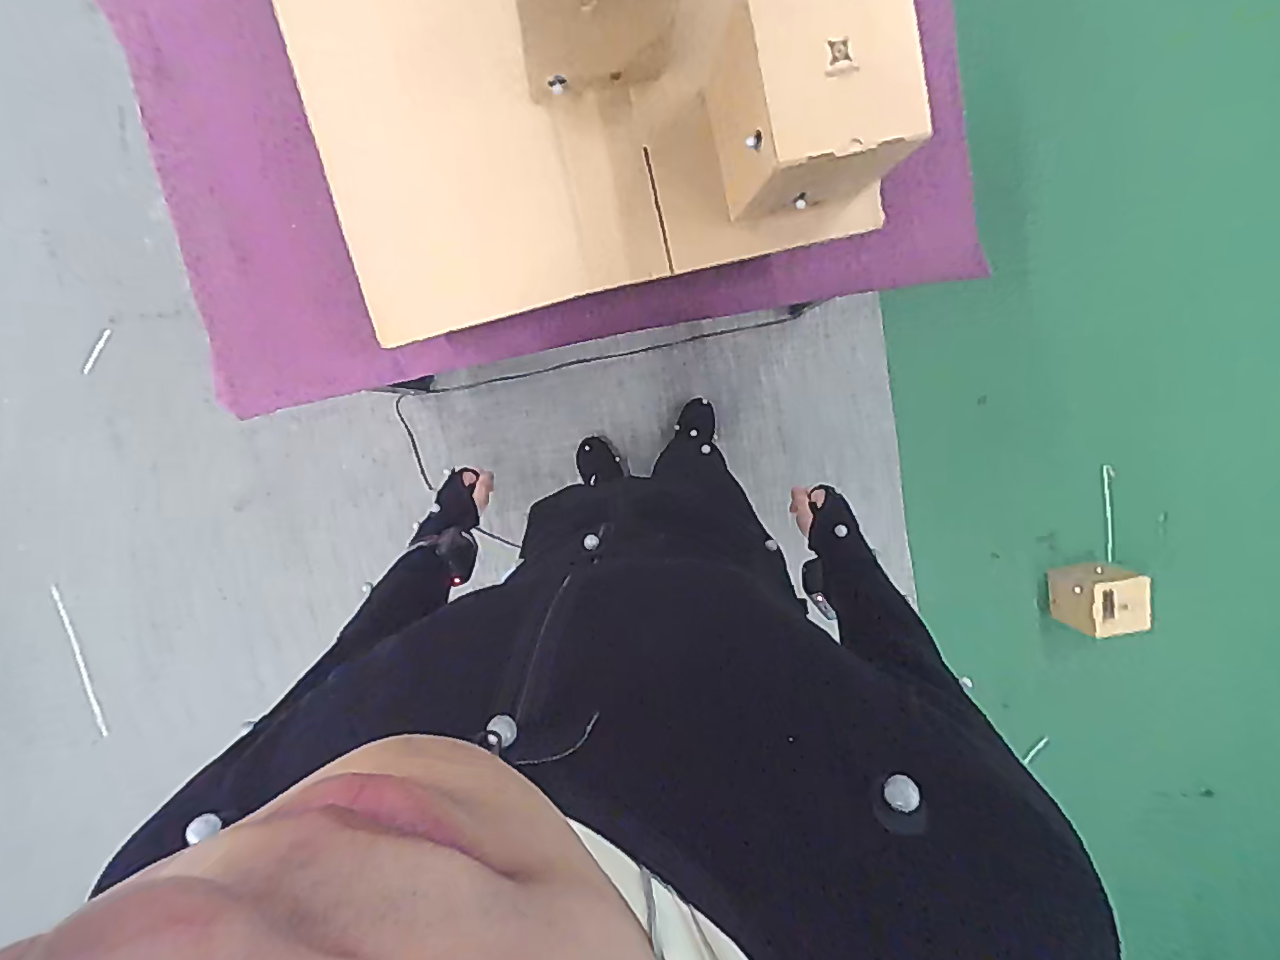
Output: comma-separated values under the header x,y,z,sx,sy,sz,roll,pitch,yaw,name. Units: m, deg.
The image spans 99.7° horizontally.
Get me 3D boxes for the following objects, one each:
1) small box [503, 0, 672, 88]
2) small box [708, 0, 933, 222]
x,y,z,sx,sy,sz,roll,pitch,yaw,name
-0.063,-0.539,0.551,0.168,0.176,0.179,-15,97,-5,small box
0.183,-0.415,0.595,0.168,0.176,0.179,-14,99,-4,small box
